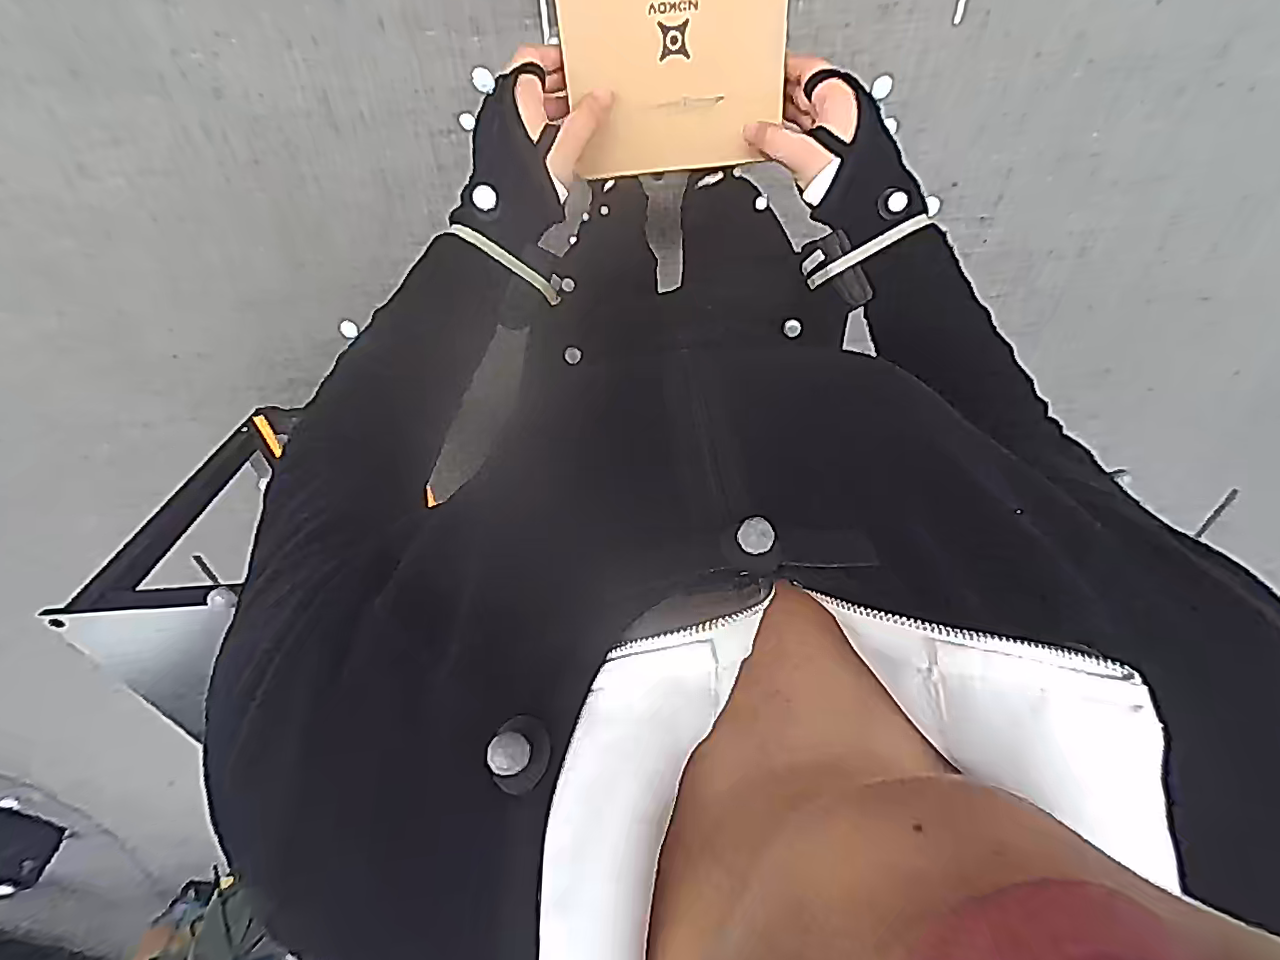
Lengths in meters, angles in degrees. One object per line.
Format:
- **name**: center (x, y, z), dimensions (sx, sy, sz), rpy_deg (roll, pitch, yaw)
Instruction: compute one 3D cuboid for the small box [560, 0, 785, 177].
- **small box**: center (0.023, -0.374, 0.463), dimensions (0.168, 0.176, 0.179), rpy_deg (-5, 126, 2)
